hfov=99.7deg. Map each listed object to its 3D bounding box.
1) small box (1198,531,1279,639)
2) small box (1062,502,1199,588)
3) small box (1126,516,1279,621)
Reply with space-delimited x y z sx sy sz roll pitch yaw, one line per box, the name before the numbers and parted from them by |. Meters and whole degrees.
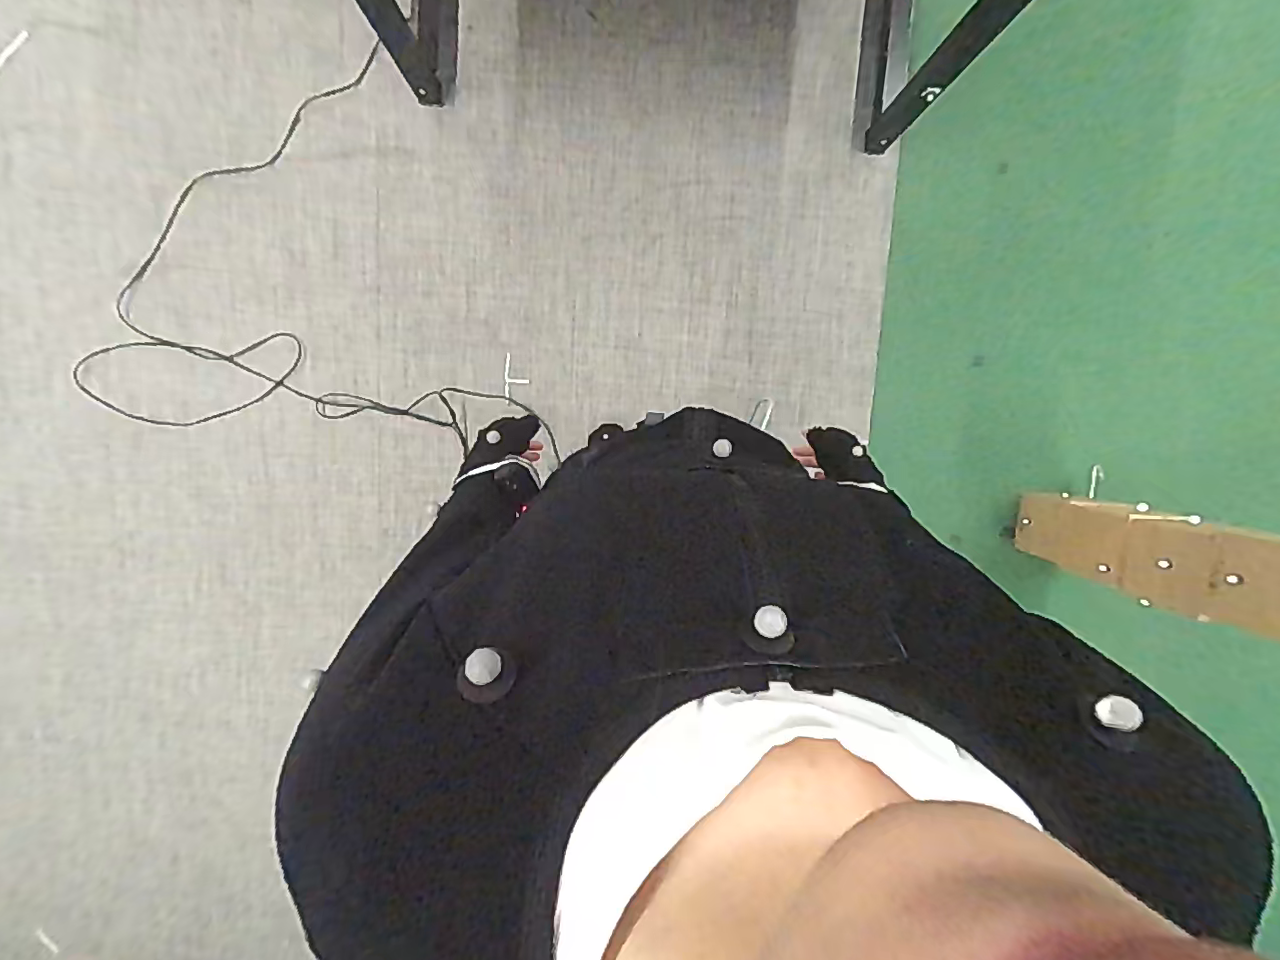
small box | 1.175 0.193 0.959 0.179 0.176 0.168 7 97 -2
small box | 1.154 0.151 1.285 0.168 0.176 0.179 3 98 -2
small box | 1.167 0.179 1.123 0.168 0.176 0.179 2 97 -2
